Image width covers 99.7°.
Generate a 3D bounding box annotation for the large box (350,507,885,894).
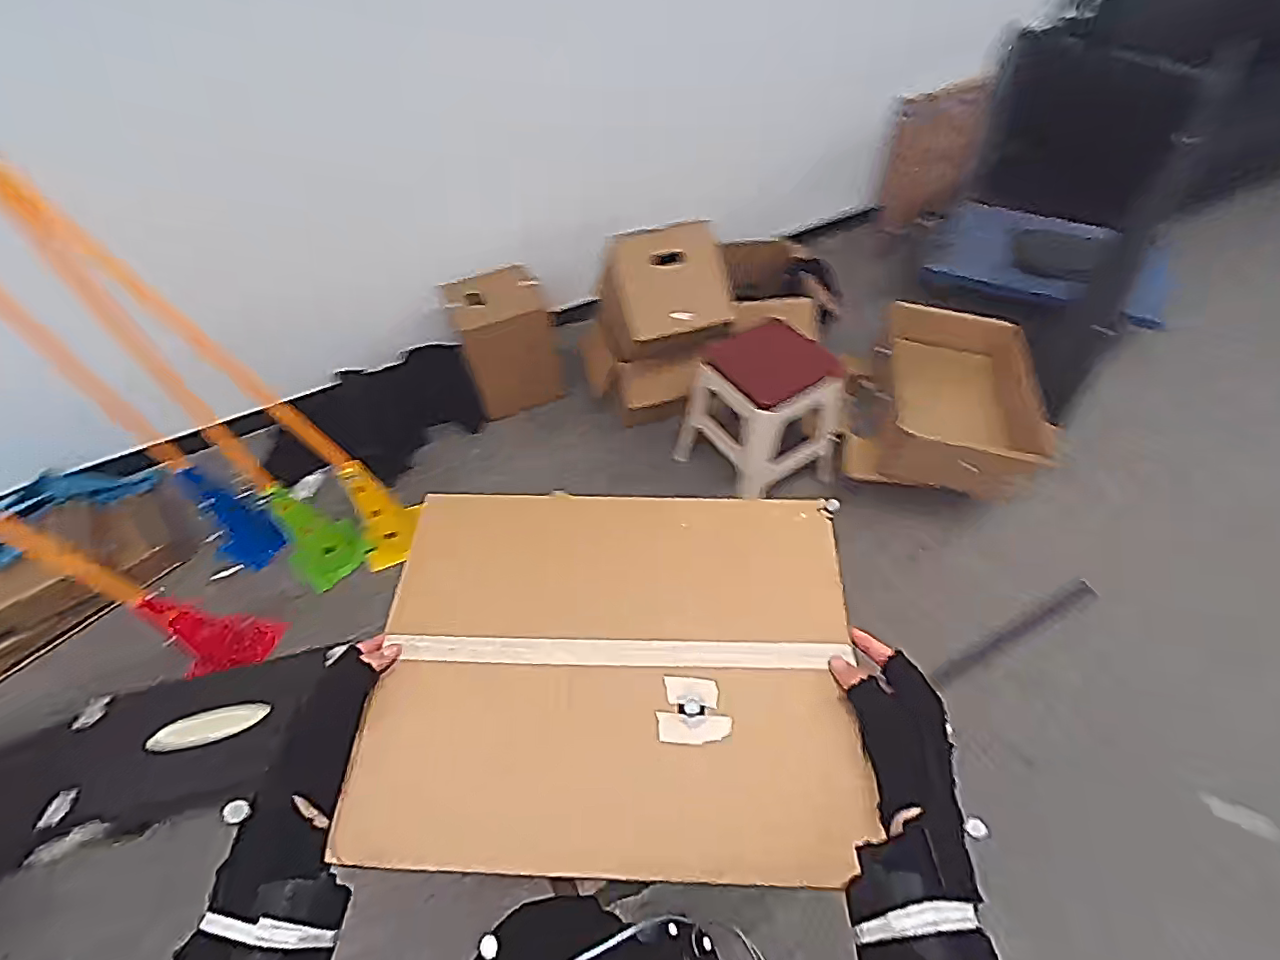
[{"bbox_3d":[-0.013,0.244,0.599,0.408,0.320,0.320,2,57,2],"label":"large box"}]
